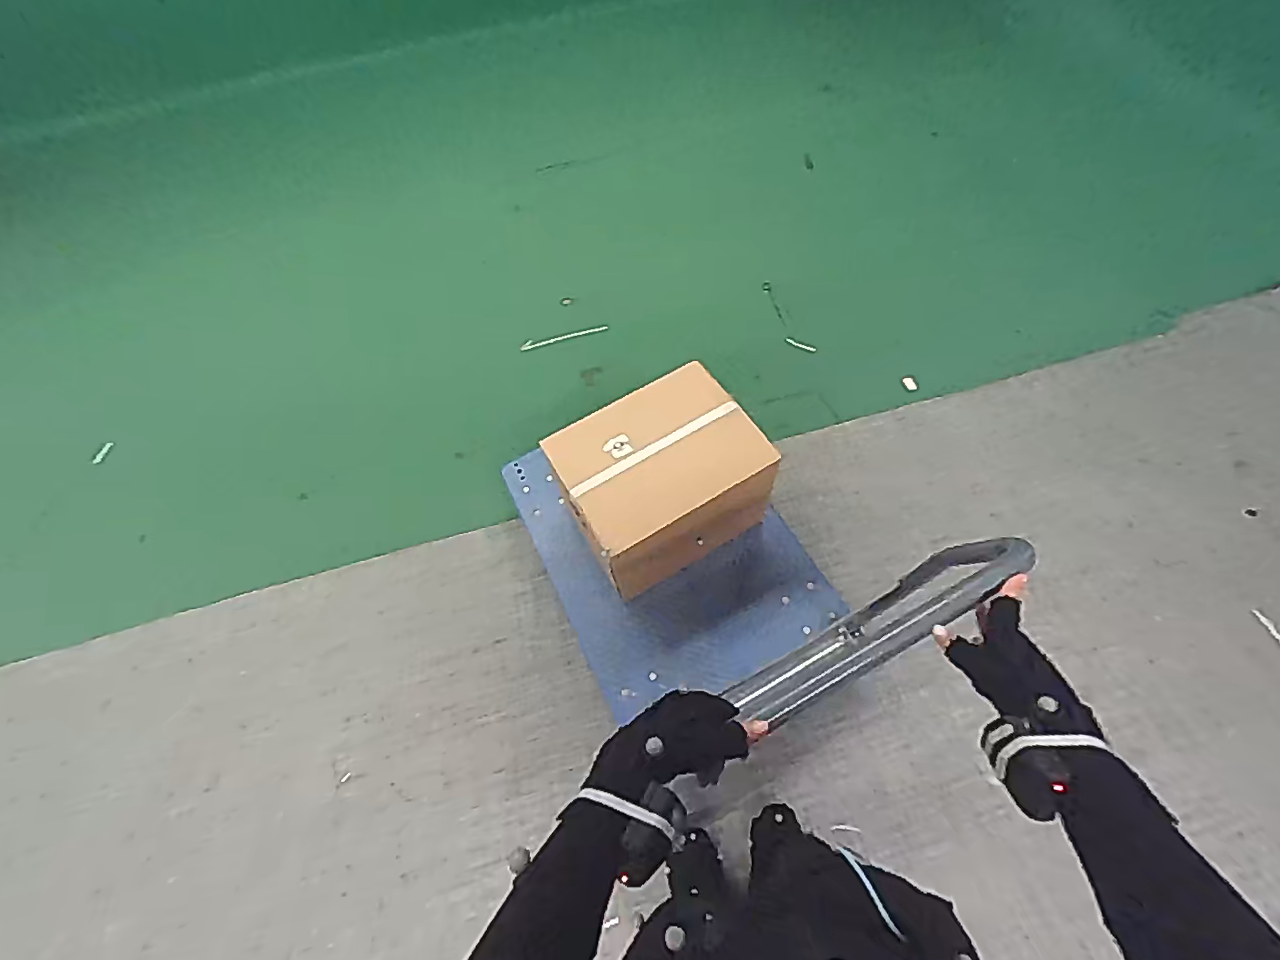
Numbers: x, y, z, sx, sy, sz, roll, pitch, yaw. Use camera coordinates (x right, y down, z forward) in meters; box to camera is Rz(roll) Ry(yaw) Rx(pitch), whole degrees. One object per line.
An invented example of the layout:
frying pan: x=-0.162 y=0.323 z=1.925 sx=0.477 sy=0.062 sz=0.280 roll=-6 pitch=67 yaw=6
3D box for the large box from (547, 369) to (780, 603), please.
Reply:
large box: x=0.056 y=0.022 z=1.259 sx=0.408 sy=0.320 sz=0.320 roll=-30 pitch=63 yaw=-11
